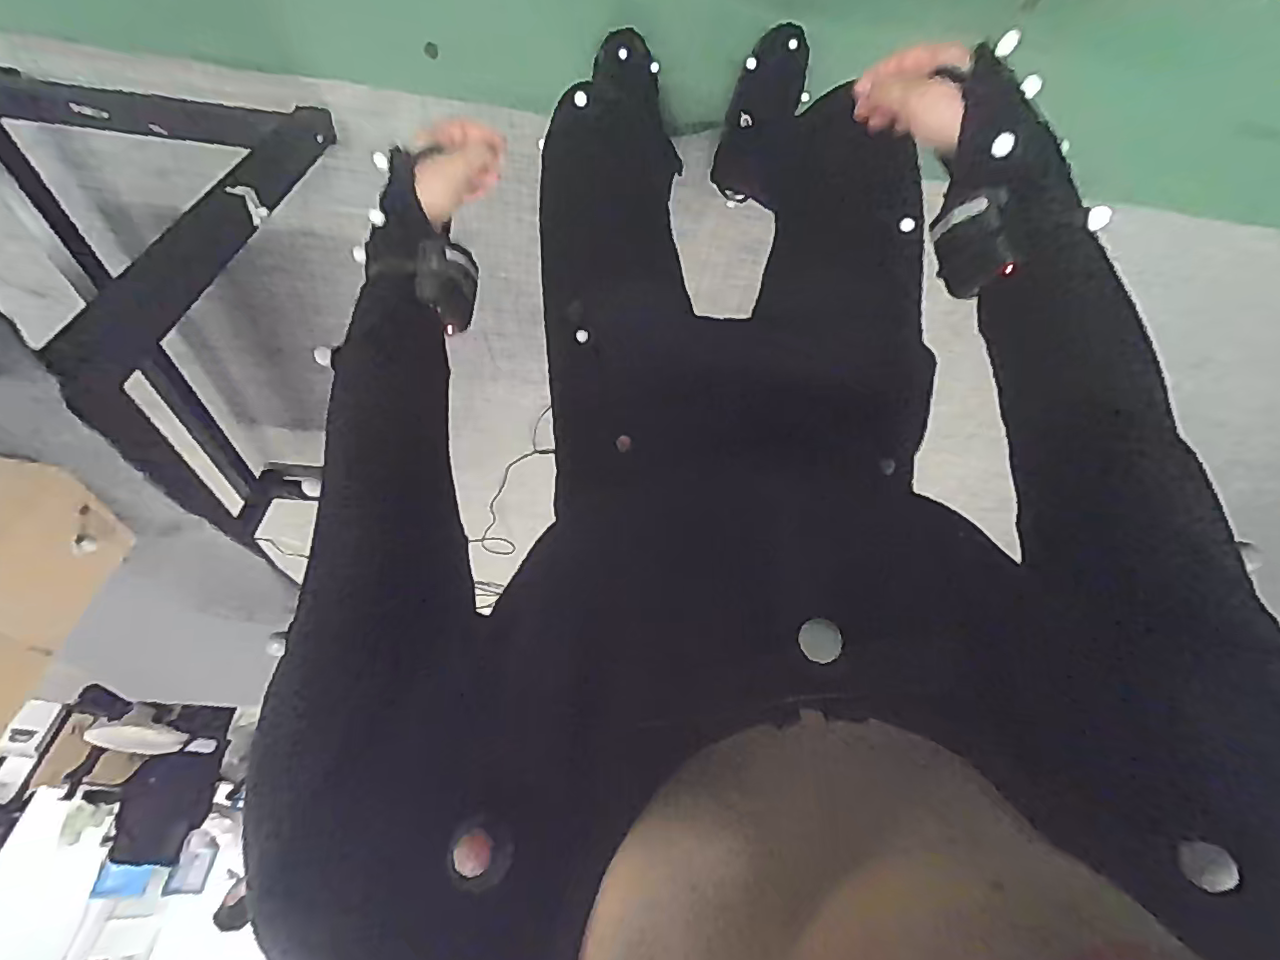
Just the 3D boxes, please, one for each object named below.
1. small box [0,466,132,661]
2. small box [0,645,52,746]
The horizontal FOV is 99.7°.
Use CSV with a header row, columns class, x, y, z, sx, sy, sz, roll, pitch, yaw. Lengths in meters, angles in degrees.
class,x,y,z,sx,sy,sz,roll,pitch,yaw
small box,-0.746,0.087,0.604,0.179,0.176,0.168,10,143,-9
small box,-0.757,0.222,0.514,0.168,0.176,0.179,7,144,-1
